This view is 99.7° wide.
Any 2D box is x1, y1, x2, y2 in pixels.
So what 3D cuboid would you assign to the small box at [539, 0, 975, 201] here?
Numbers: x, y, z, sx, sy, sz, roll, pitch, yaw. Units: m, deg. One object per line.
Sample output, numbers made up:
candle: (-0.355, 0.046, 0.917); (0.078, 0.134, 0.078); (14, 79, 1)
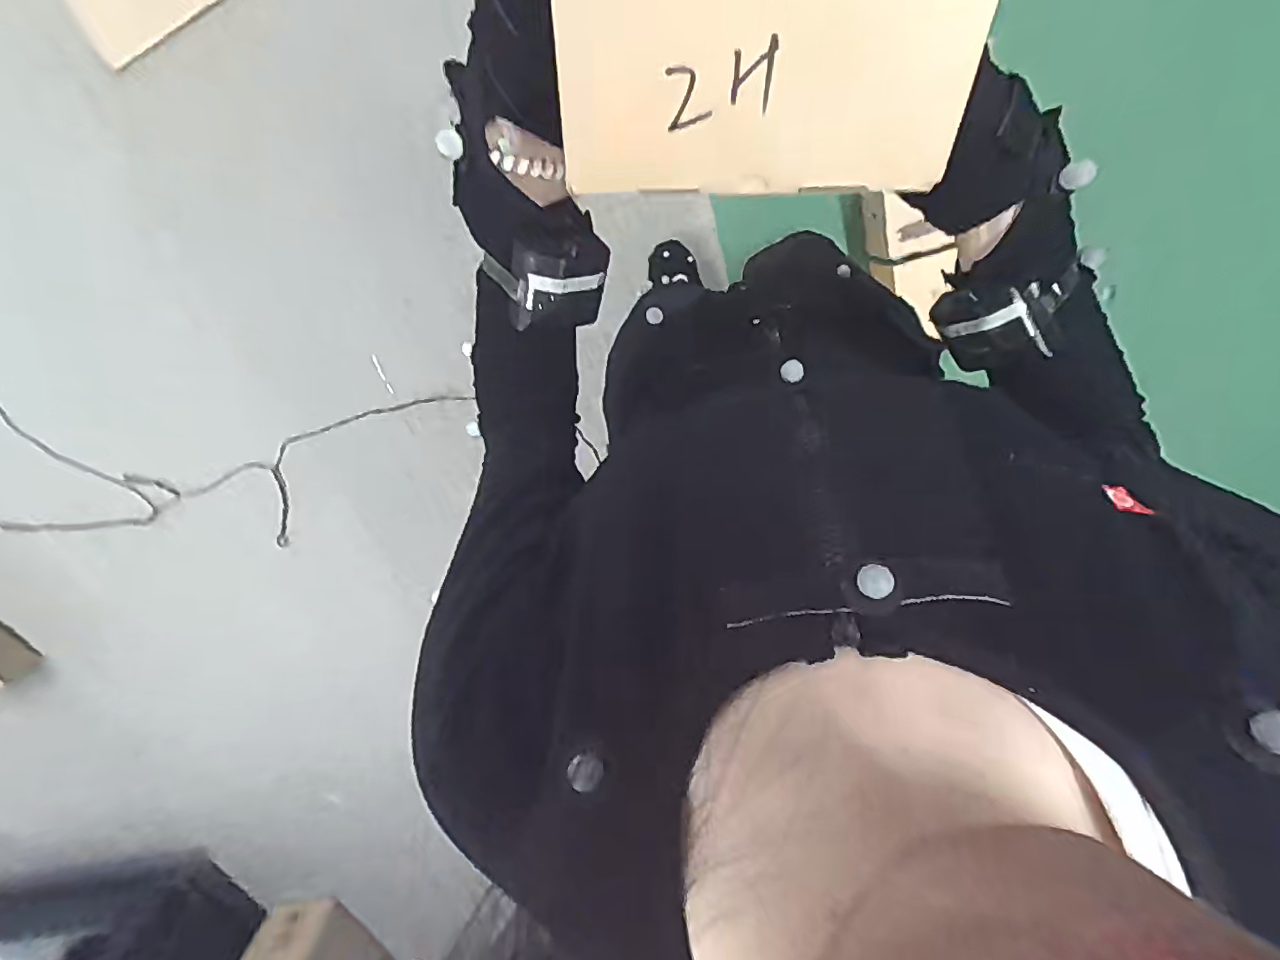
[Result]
small box: (0.044, -0.246, 0.252); (0.168, 0.176, 0.179); (0, 131, 3)
